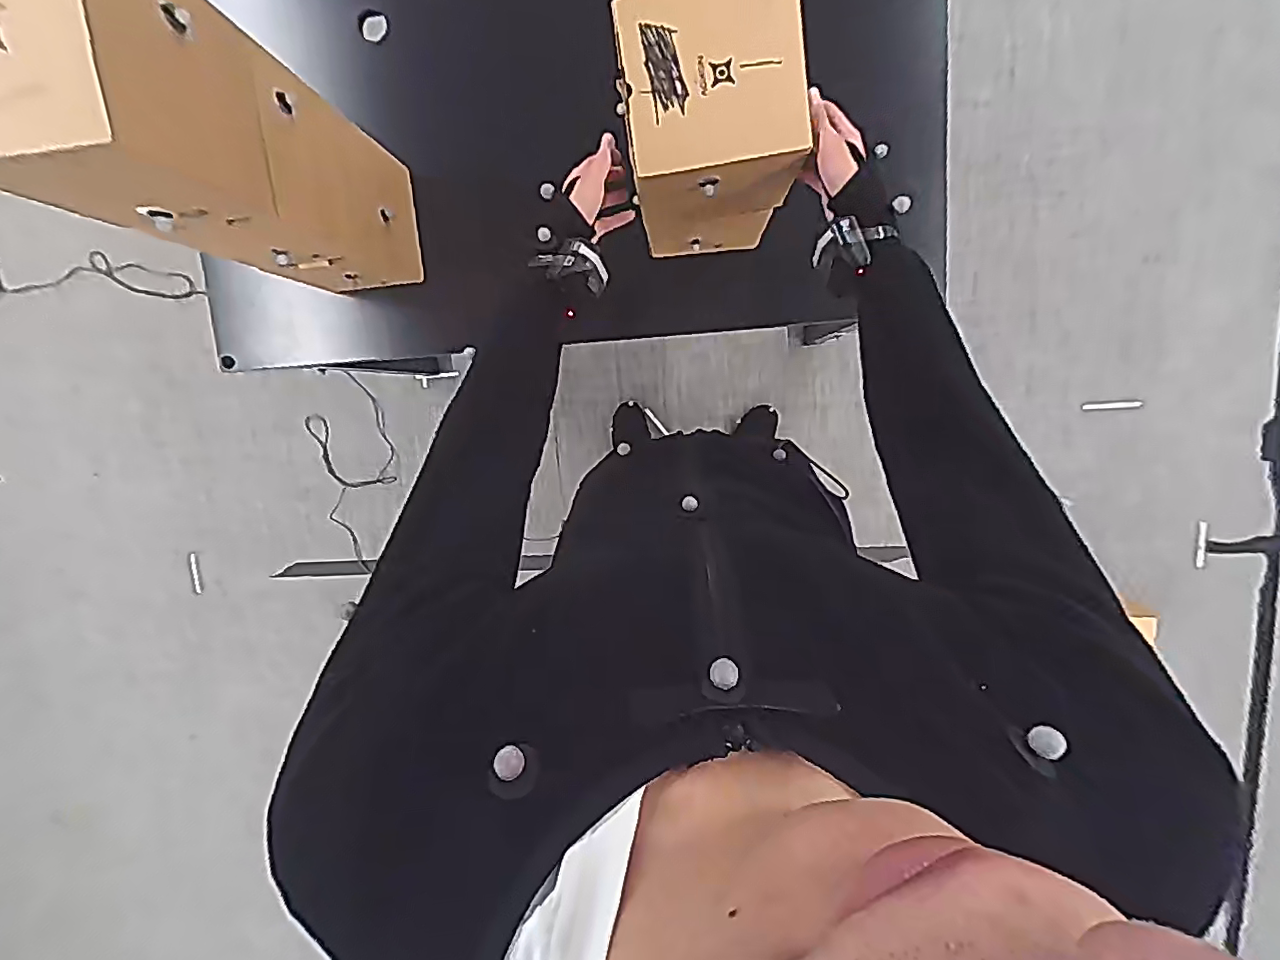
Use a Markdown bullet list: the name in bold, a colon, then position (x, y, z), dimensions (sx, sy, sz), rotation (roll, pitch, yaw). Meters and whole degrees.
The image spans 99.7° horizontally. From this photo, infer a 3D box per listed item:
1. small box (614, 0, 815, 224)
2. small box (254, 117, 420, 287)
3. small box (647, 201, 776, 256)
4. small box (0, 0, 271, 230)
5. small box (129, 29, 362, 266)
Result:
- **small box**: position (0.077, -0.397, 0.588), dimensions (0.179, 0.176, 0.168), rotation (-7, 99, 5)
- **small box**: position (-0.445, -0.389, 0.793), dimensions (0.168, 0.176, 0.179), rotation (-5, 99, 5)
- **small box**: position (0.088, -0.429, 0.749), dimensions (0.168, 0.176, 0.179), rotation (-4, 99, 5)
- **small box**: position (-0.467, -0.341, 0.469), dimensions (0.168, 0.176, 0.179), rotation (-5, 99, 6)
- **small box**: position (-0.456, -0.366, 0.630), dimensions (0.168, 0.176, 0.179), rotation (-4, 99, 5)
